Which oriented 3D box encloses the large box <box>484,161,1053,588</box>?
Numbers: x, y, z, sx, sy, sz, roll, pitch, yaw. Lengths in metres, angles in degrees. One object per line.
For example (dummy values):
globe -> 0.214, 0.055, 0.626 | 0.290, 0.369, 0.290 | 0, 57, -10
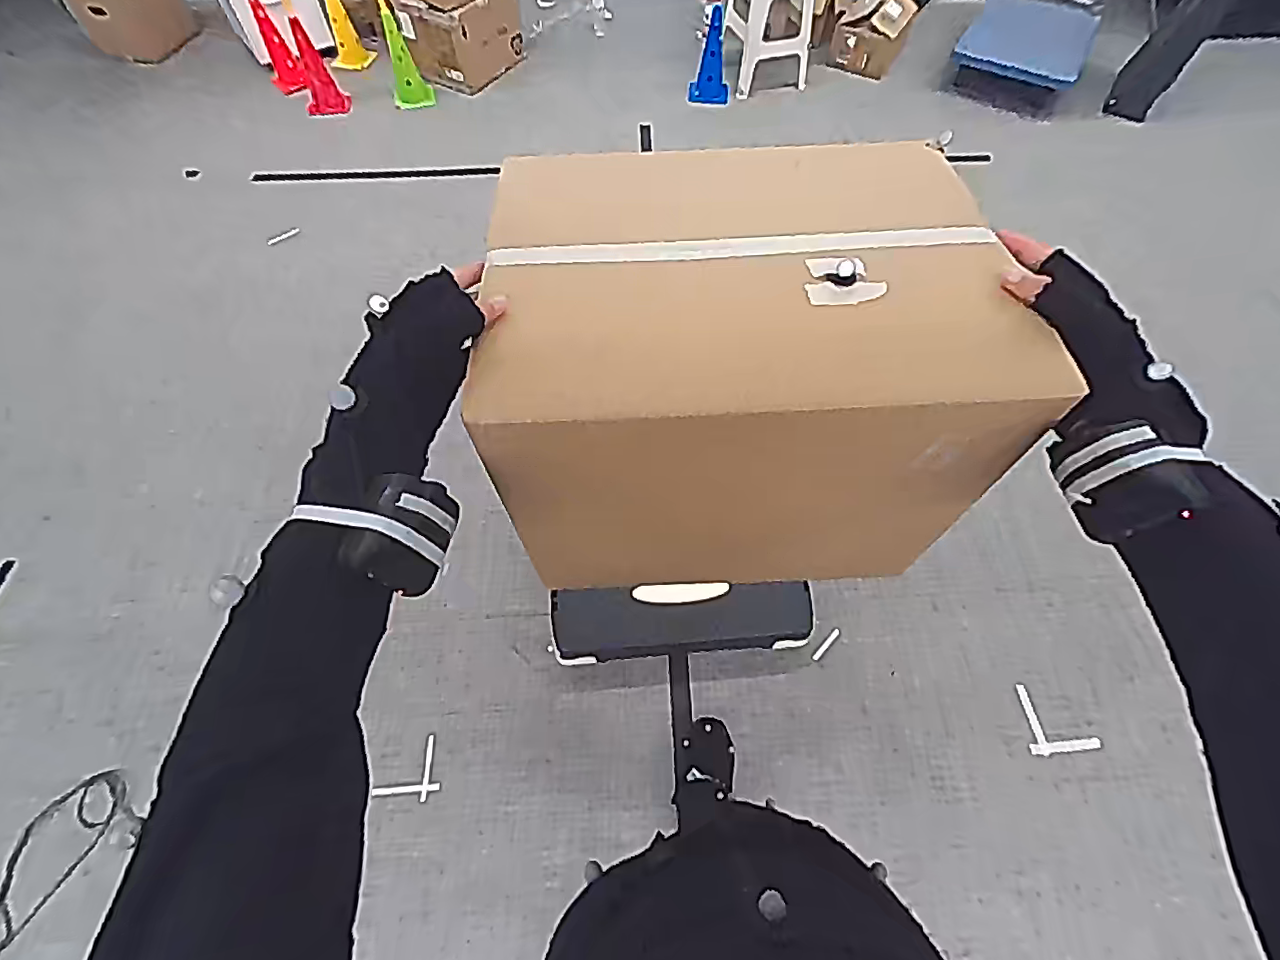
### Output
large box -> 0.082, -0.094, 0.572 | 0.408, 0.320, 0.320 | -3, 59, -1
